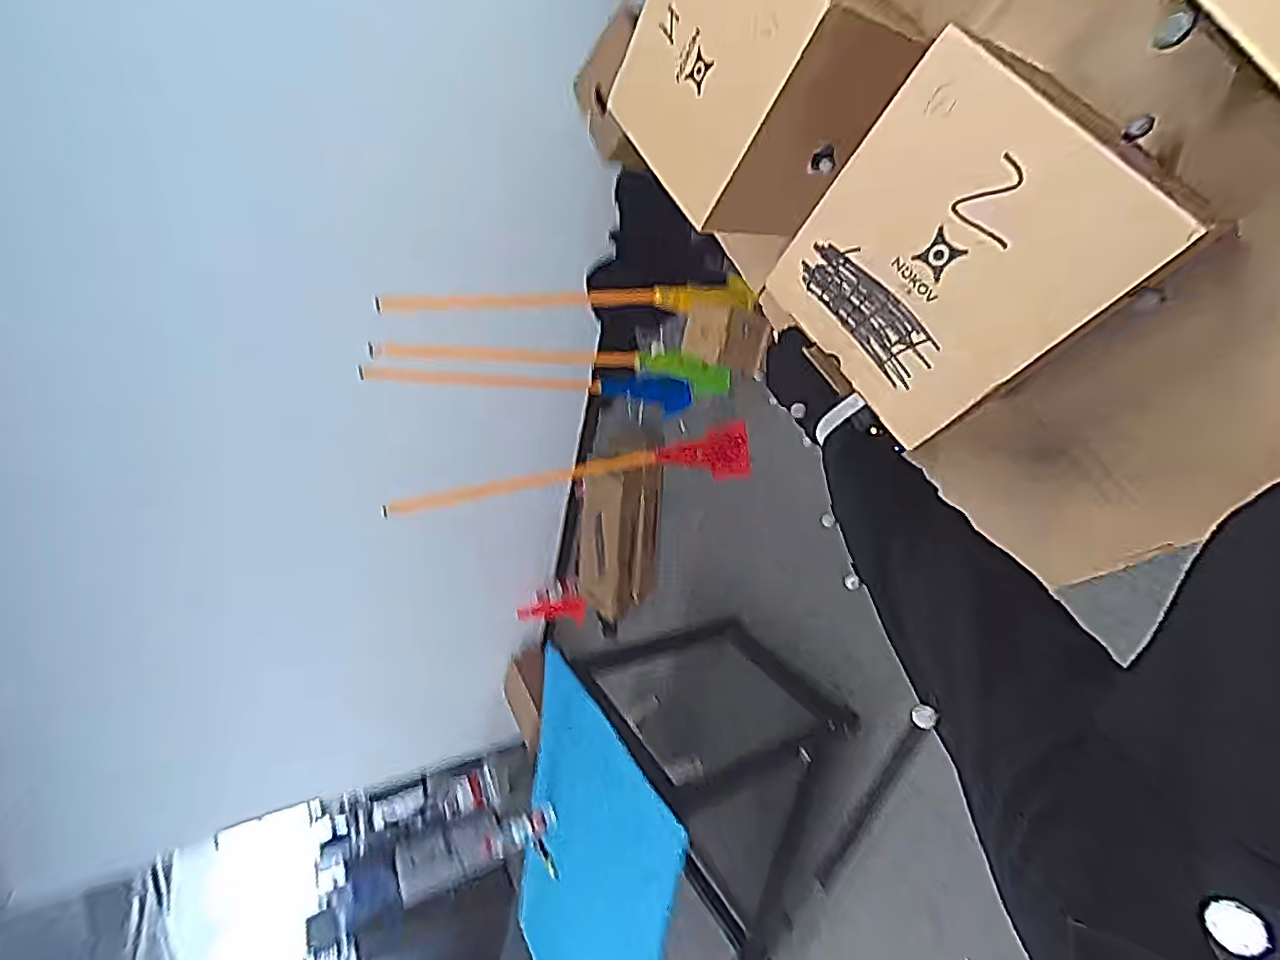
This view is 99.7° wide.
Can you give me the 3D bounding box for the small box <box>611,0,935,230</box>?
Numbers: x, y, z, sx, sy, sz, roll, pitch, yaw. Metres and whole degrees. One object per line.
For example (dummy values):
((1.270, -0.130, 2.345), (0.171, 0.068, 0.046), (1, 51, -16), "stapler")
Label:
((0.108, -0.343, 0.466), (0.179, 0.176, 0.168), (62, 143, 17), "small box")
